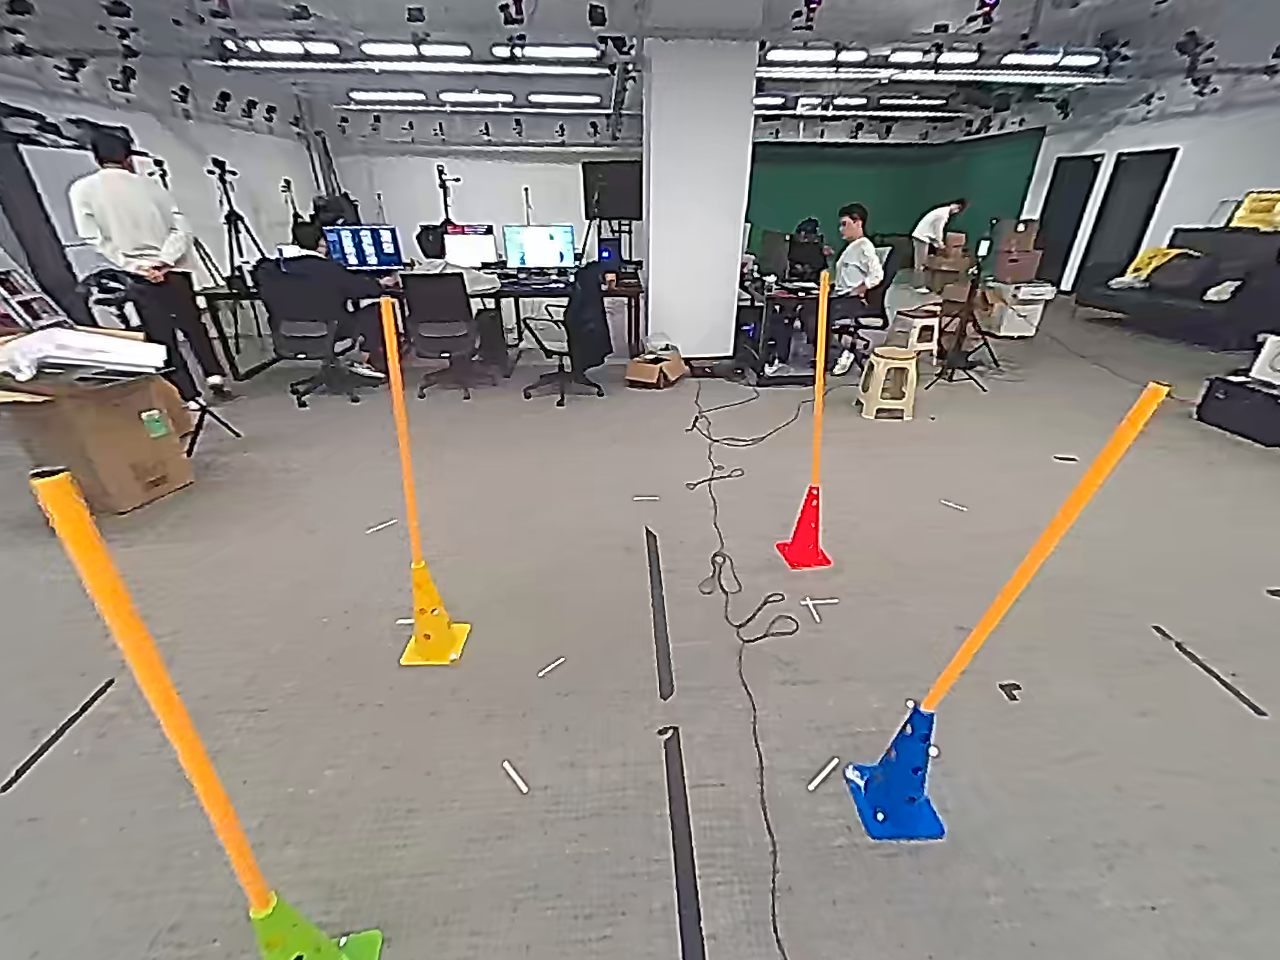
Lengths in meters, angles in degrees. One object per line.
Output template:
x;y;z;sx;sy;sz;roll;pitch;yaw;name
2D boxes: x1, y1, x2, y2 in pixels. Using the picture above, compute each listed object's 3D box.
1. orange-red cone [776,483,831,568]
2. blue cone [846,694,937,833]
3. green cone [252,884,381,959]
0.729;0.179;2.346;0.199;0.360;0.198;-5;27;-6;orange-red cone
0.667;0.697;1.365;0.193;0.380;0.192;0;26;0;blue cone
-0.636;0.878;0.999;0.200;0.368;0.202;-6;26;-12;green cone
